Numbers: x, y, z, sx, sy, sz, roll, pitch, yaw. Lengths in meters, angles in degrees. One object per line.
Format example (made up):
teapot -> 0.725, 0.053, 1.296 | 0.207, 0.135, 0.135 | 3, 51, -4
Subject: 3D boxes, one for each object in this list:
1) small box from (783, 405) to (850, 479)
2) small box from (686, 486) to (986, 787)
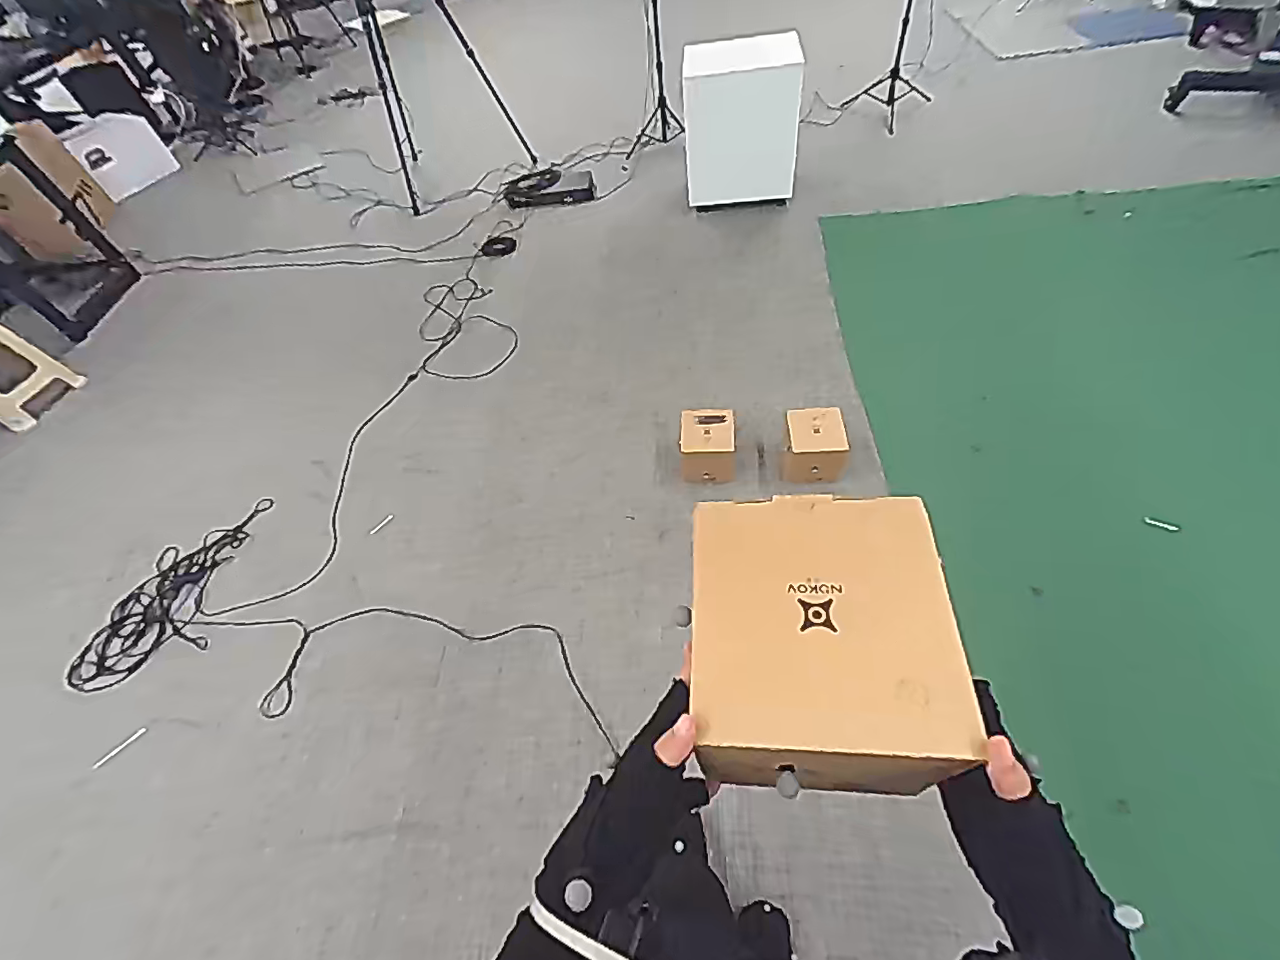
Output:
small box -> 0.553, -0.115, 1.713 | 0.168, 0.176, 0.179 | -2, 54, 6
small box -> 0.129, 0.124, 0.415 | 0.168, 0.176, 0.179 | -2, 53, 10
